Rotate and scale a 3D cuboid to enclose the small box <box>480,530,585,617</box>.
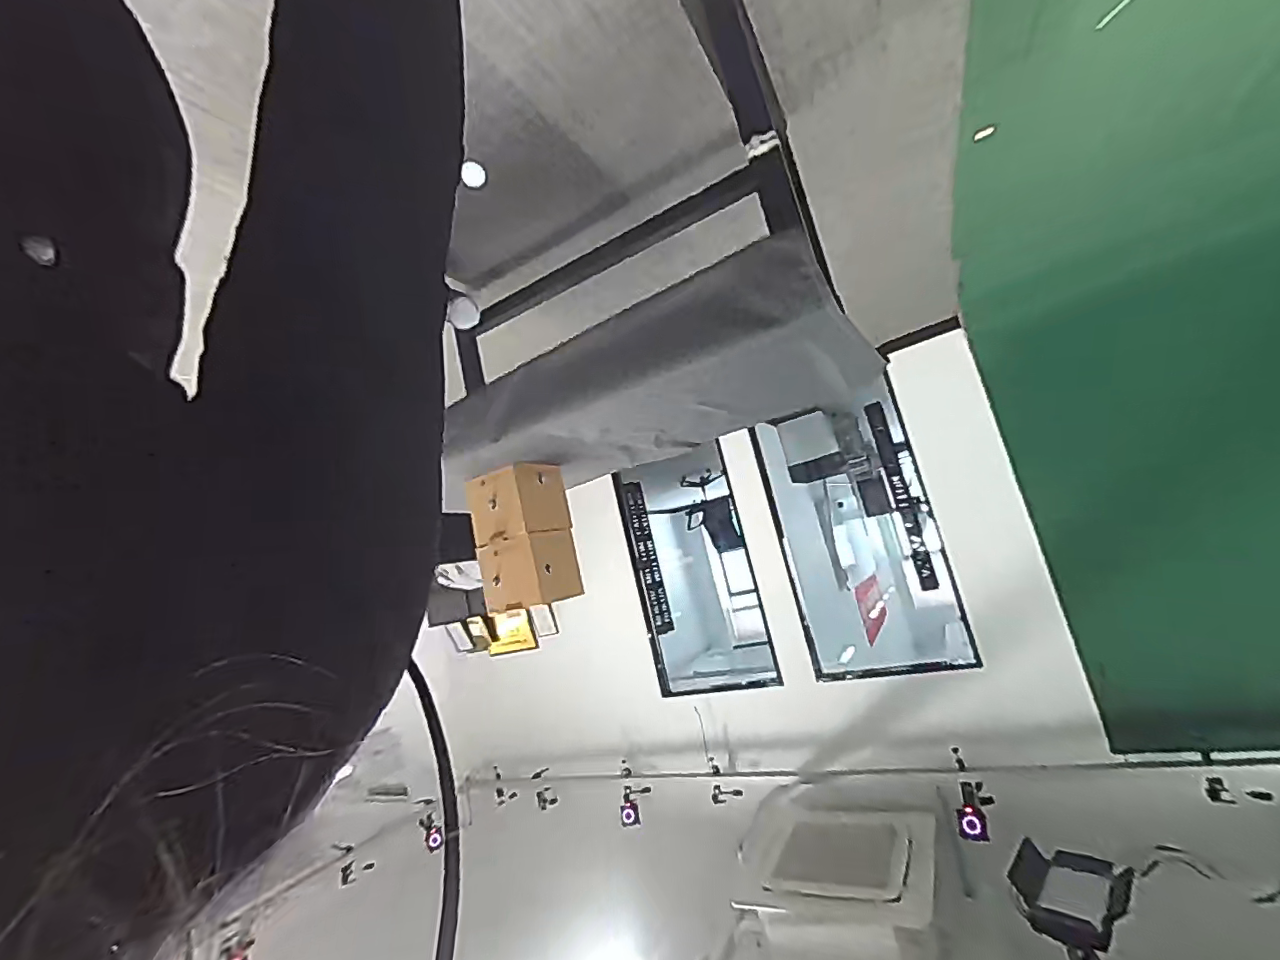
[{"bbox_3d":[-0.261,0.220,1.307,0.168,0.176,0.179,-17,171,26],"label":"small box"}]

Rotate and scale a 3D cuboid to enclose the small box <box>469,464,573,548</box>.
[{"bbox_3d":[-0.295,0.062,1.330,0.168,0.176,0.179,-18,170,29],"label":"small box"}]
